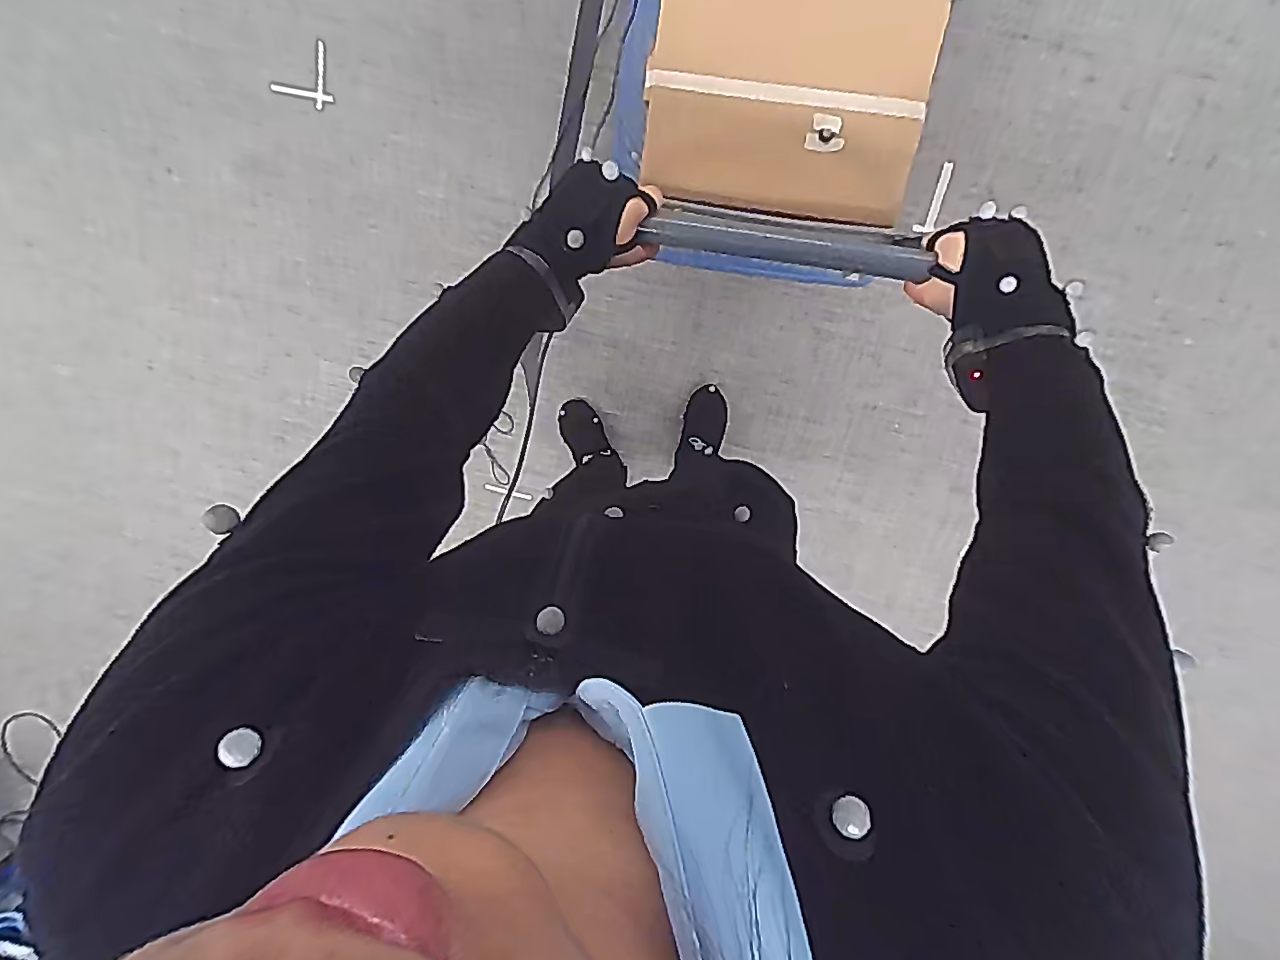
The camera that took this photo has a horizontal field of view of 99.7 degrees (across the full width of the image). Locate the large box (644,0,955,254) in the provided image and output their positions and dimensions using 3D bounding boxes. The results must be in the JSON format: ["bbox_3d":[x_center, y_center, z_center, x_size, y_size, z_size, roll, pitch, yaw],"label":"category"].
[{"bbox_3d":[0.226,-0.589,0.930,0.408,0.320,0.320,8,109,1],"label":"large box"}]
